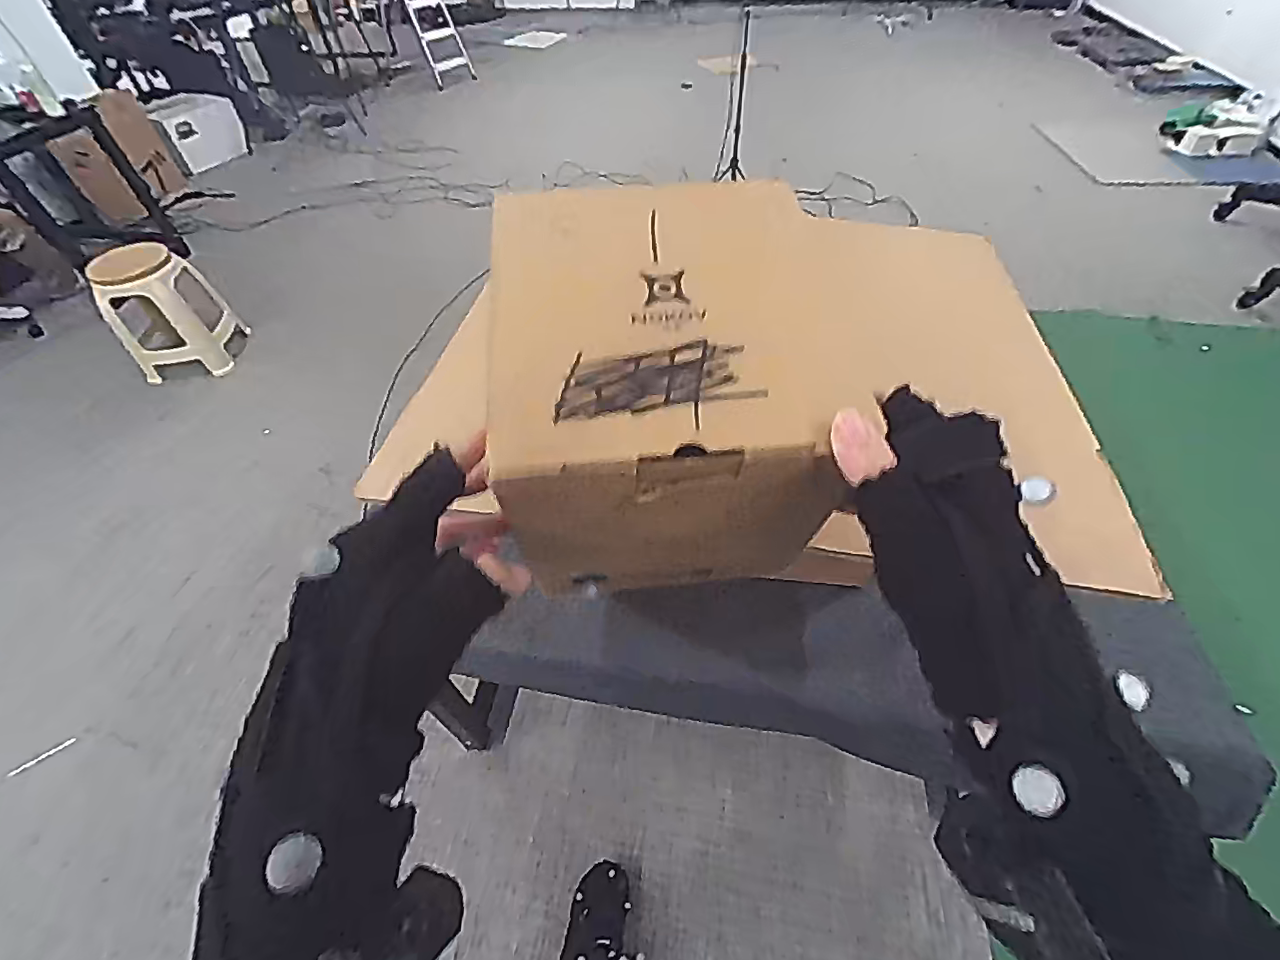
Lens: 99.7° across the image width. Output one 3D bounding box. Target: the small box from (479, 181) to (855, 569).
[{"bbox_3d":[0.006,-0.051,0.338,0.168,0.176,0.179,-4,61,-3],"label":"small box"}]
